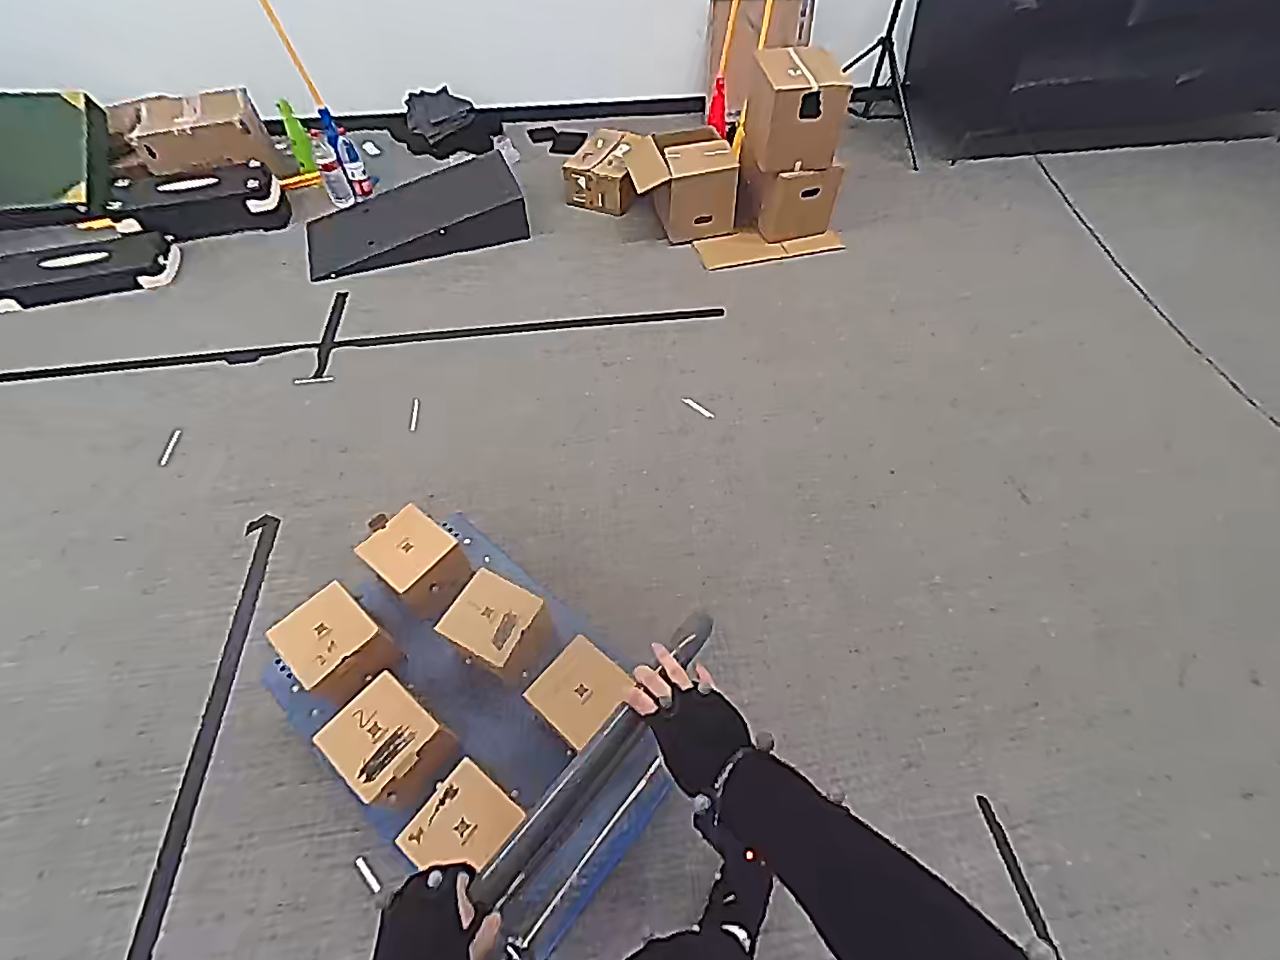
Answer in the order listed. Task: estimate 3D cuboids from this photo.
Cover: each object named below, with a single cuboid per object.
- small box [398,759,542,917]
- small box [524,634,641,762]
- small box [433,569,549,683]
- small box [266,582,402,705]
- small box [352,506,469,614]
[{"bbox_3d":[-0.300,0.651,0.997,0.179,0.176,0.168,32,59,19],"label":"small box"},{"bbox_3d":[-0.114,0.463,1.135,0.179,0.176,0.168,35,61,21],"label":"small box"},{"bbox_3d":[-0.322,0.335,1.217,0.179,0.176,0.168,23,57,15],"label":"small box"},{"bbox_3d":[-0.662,0.365,1.187,0.179,0.176,0.168,37,62,21],"label":"small box"},{"bbox_3d":[-0.542,0.201,1.306,0.179,0.176,0.168,32,61,19],"label":"small box"}]
